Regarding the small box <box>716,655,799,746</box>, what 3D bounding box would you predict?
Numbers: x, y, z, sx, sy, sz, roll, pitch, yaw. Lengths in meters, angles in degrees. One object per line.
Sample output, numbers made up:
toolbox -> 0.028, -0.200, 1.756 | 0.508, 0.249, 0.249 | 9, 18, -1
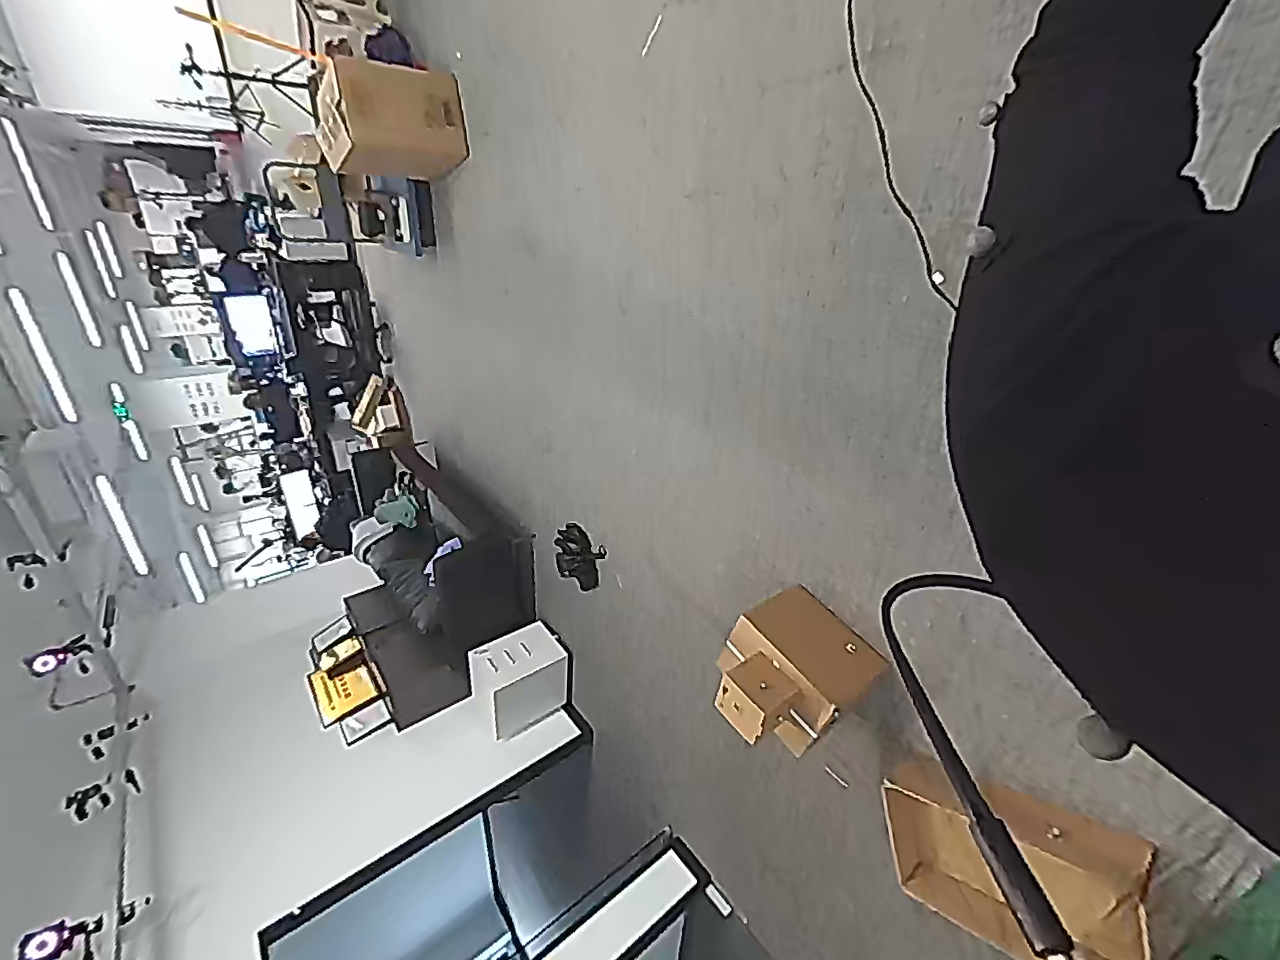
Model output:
small box -> 0.377, 0.695, 1.724 | 0.179, 0.176, 0.168 | 38, 132, 38
